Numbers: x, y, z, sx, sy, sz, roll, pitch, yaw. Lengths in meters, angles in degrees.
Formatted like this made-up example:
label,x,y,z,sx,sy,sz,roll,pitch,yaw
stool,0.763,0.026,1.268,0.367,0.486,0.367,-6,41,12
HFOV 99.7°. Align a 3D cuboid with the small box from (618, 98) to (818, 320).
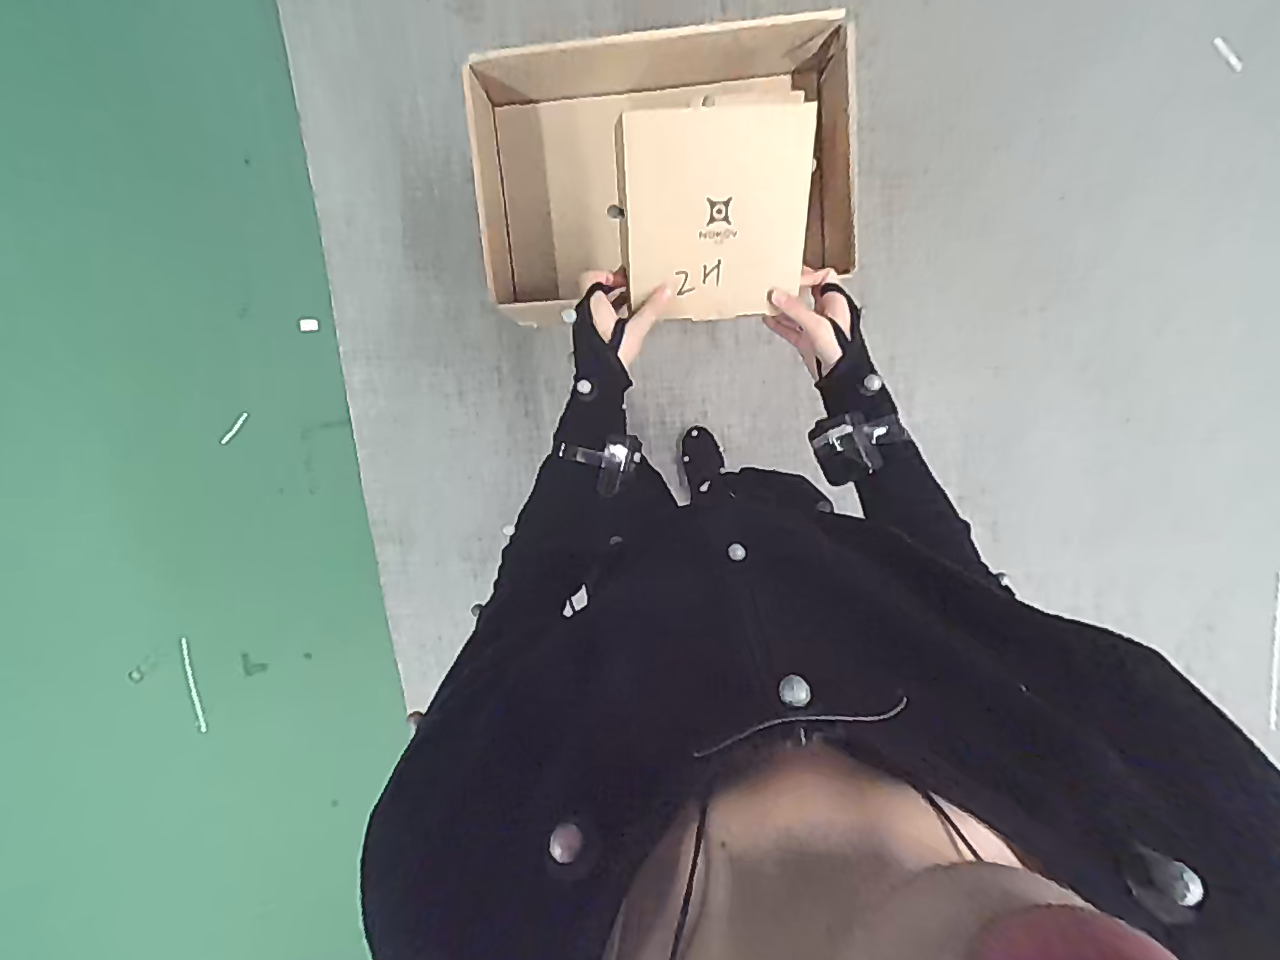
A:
label,x,y,z,sx,sy,sz,roll,pitch,yaw
small box,0.064,-0.272,0.552,0.168,0.176,0.179,-3,120,-2
